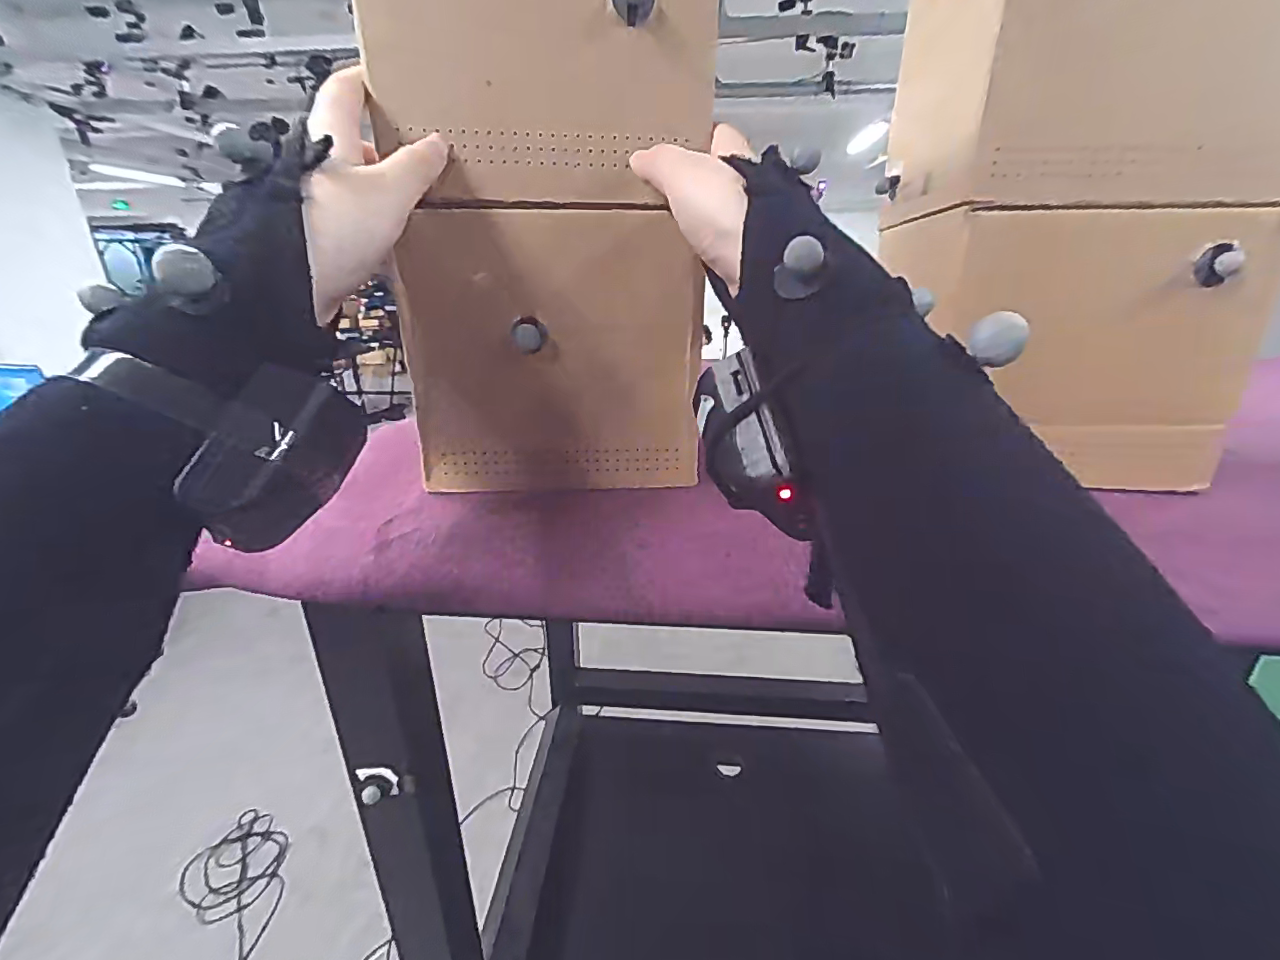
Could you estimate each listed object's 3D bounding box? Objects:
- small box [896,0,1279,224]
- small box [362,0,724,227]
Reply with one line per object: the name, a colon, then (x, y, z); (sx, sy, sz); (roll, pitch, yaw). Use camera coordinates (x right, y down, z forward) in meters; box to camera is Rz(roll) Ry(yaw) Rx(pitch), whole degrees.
small box: (0.279, -0.254, 0.341); (0.179, 0.176, 0.168); (3, 21, 5)
small box: (-0.051, -0.249, 0.328); (0.179, 0.176, 0.168); (-3, 22, -6)
